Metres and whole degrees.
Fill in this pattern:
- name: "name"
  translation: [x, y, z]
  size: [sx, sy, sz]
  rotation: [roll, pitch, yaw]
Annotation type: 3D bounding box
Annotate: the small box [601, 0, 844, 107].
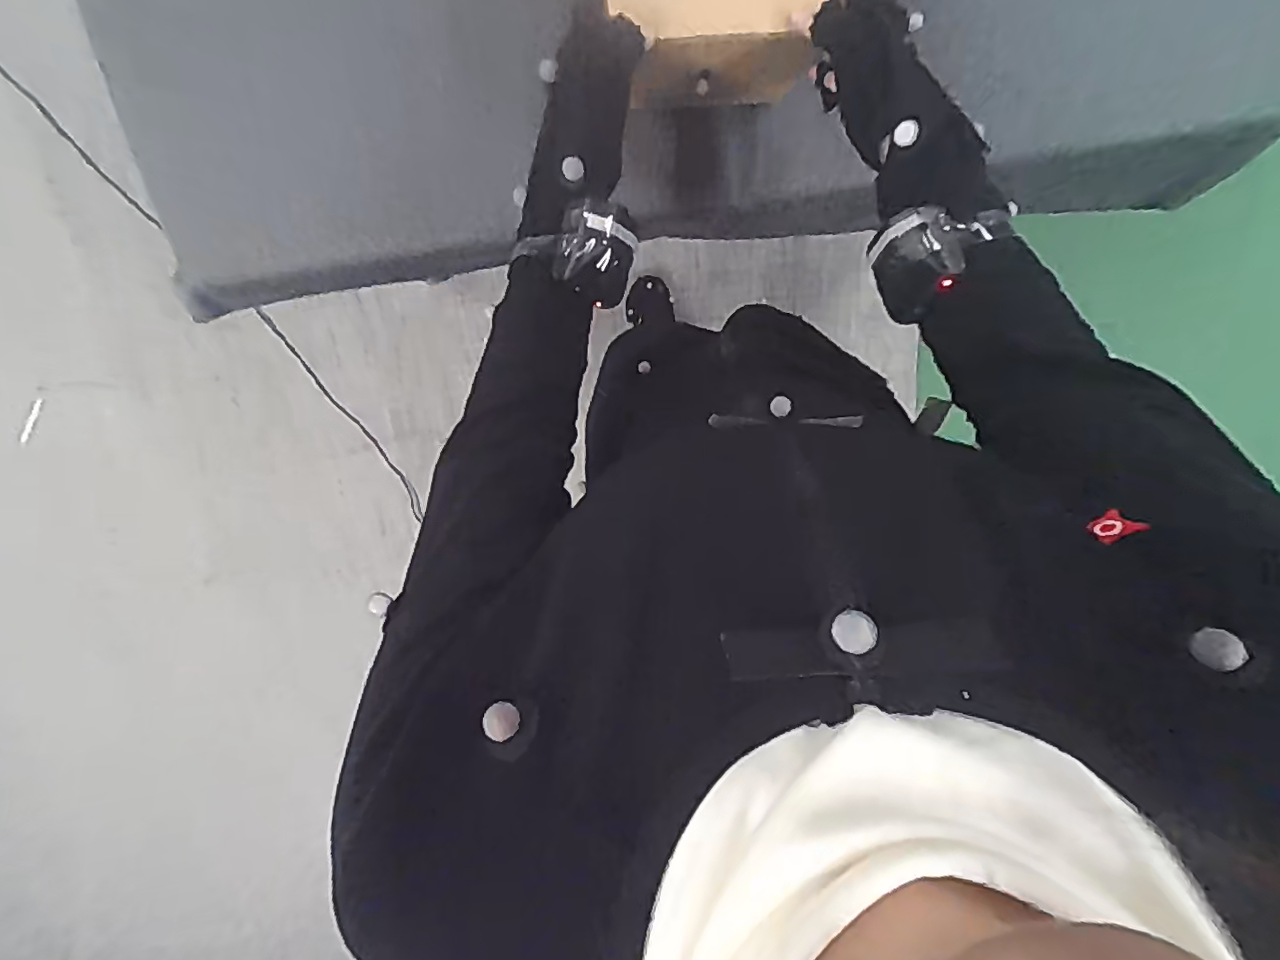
- name: "small box"
  translation: [0.055, -0.426, 0.442]
  size: [0.179, 0.176, 0.168]
  rotation: [-4, 110, -1]
